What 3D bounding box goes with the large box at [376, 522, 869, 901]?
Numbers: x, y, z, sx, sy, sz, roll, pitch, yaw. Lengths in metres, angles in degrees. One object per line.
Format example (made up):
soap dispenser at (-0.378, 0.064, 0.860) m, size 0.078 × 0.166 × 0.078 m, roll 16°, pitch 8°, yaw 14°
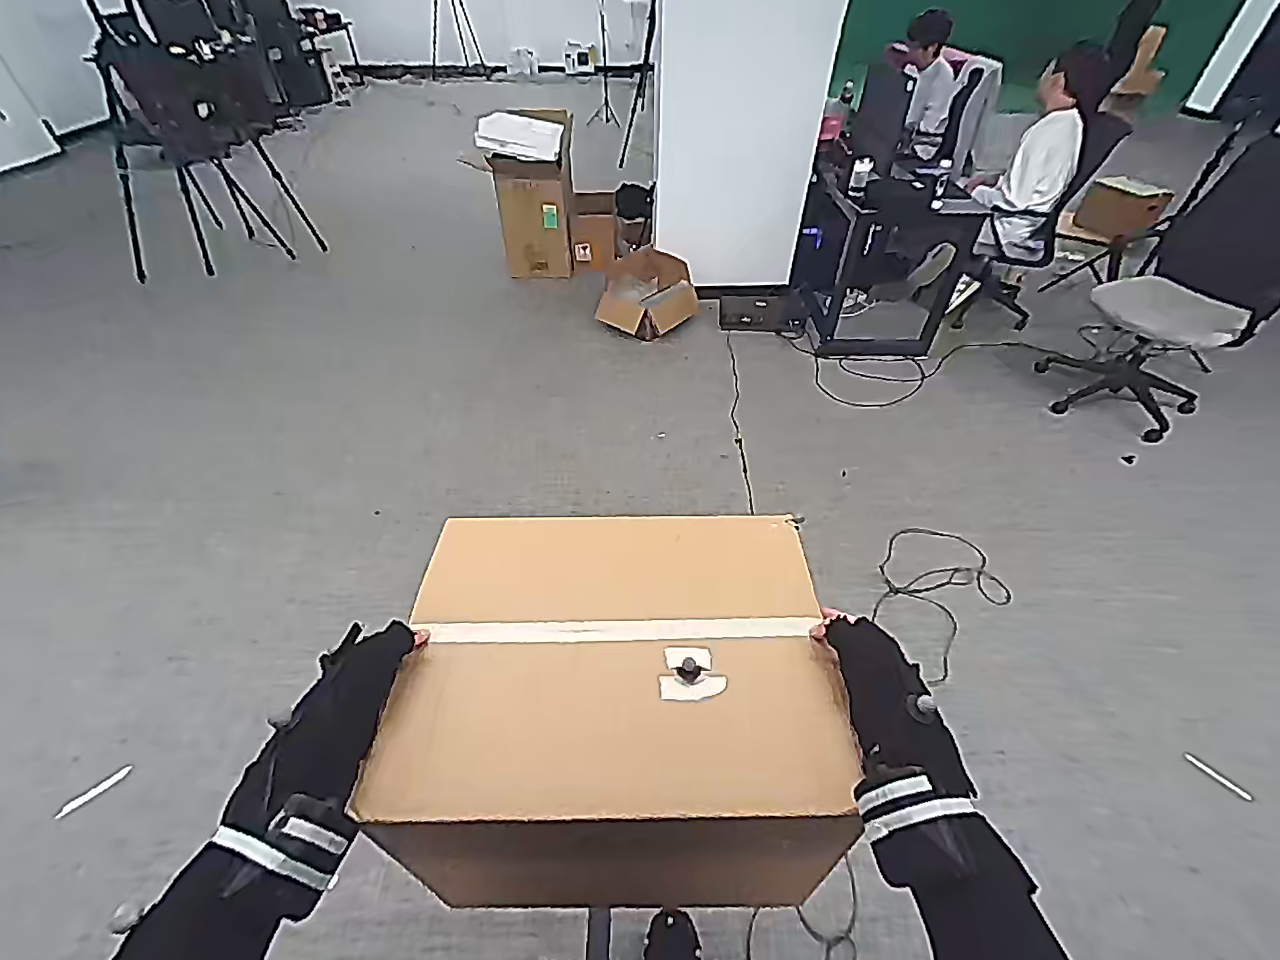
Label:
large box at (-0.016, 0.266, 0.637) m, size 0.408 × 0.320 × 0.320 m, roll 0°, pitch 42°, yaw 0°
